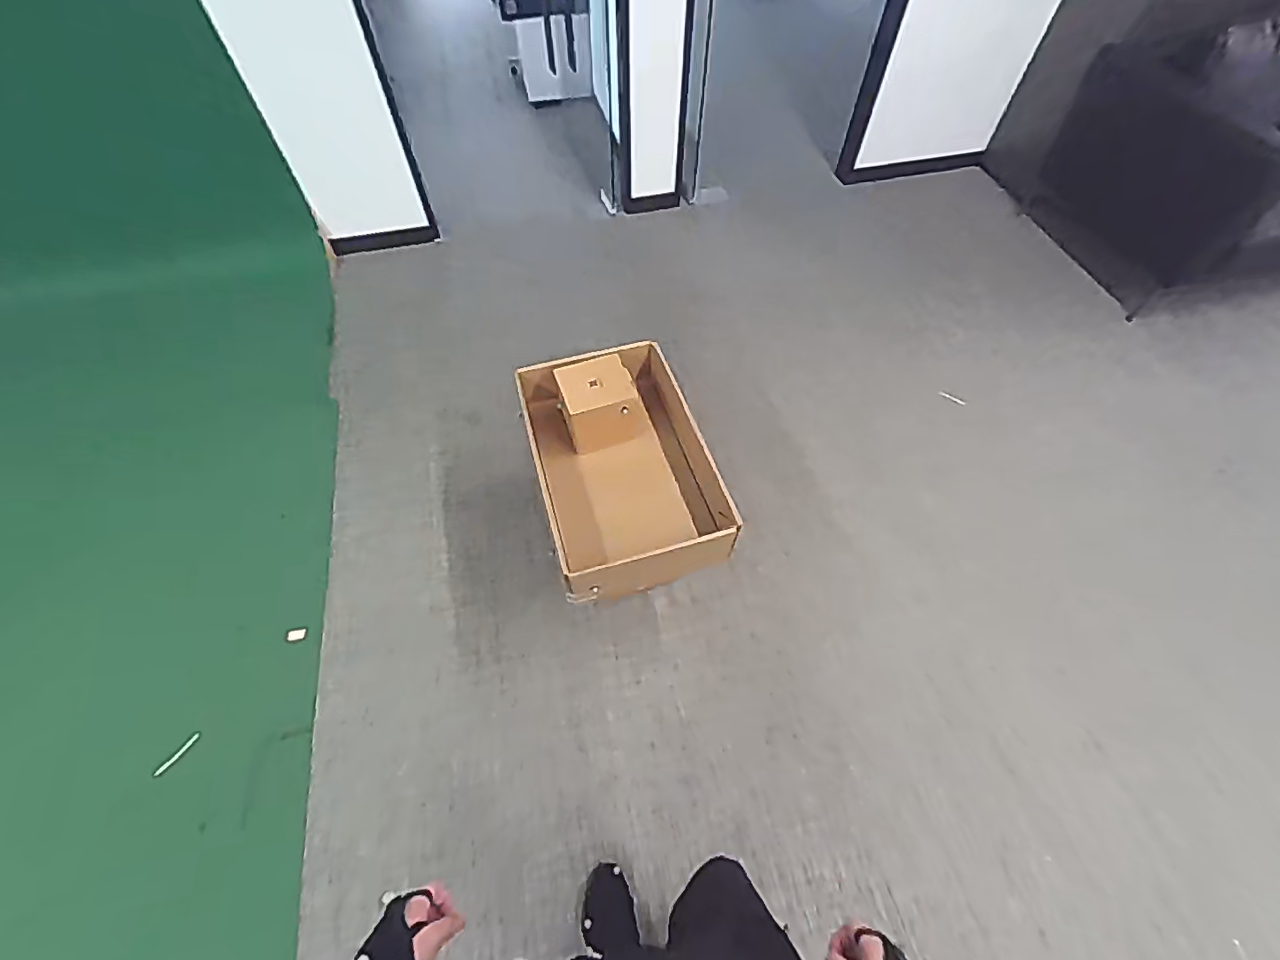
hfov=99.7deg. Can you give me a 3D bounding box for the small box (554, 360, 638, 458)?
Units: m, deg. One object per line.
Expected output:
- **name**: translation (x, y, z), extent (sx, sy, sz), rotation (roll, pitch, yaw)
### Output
- **small box**: translation (-0.110, -0.181, 1.412), extent (0.179, 0.176, 0.168), rotation (-17, 57, -12)
